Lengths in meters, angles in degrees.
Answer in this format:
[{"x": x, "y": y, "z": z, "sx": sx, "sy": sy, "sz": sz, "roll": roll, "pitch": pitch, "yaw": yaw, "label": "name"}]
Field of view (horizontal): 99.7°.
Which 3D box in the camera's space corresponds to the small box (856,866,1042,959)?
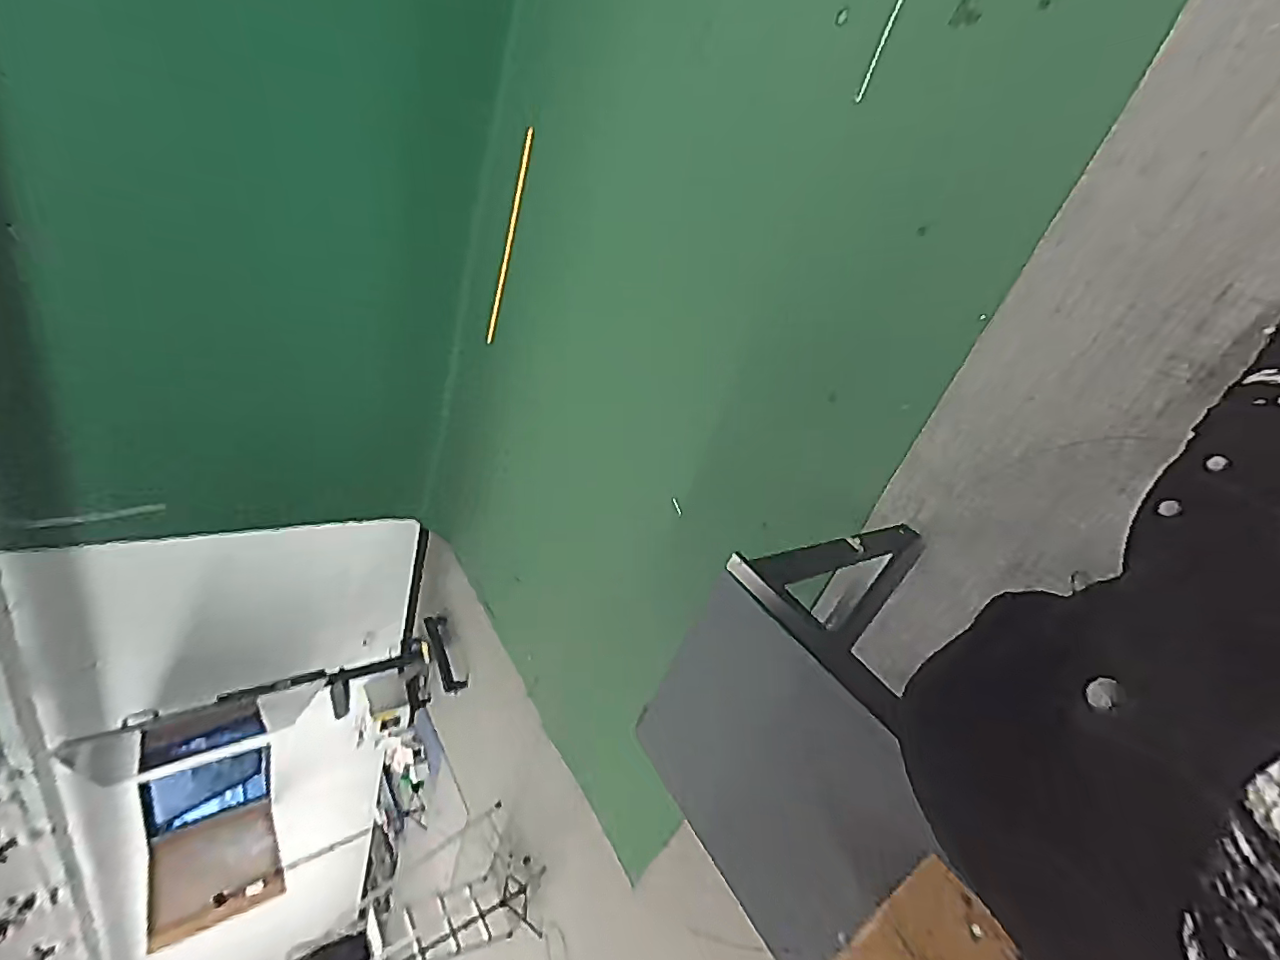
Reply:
[{"x": 0.396, "y": 0.661, "z": 0.703, "sx": 0.168, "sy": 0.176, "sz": 0.179, "roll": 41, "pitch": 124, "yaw": 40, "label": "small box"}]
